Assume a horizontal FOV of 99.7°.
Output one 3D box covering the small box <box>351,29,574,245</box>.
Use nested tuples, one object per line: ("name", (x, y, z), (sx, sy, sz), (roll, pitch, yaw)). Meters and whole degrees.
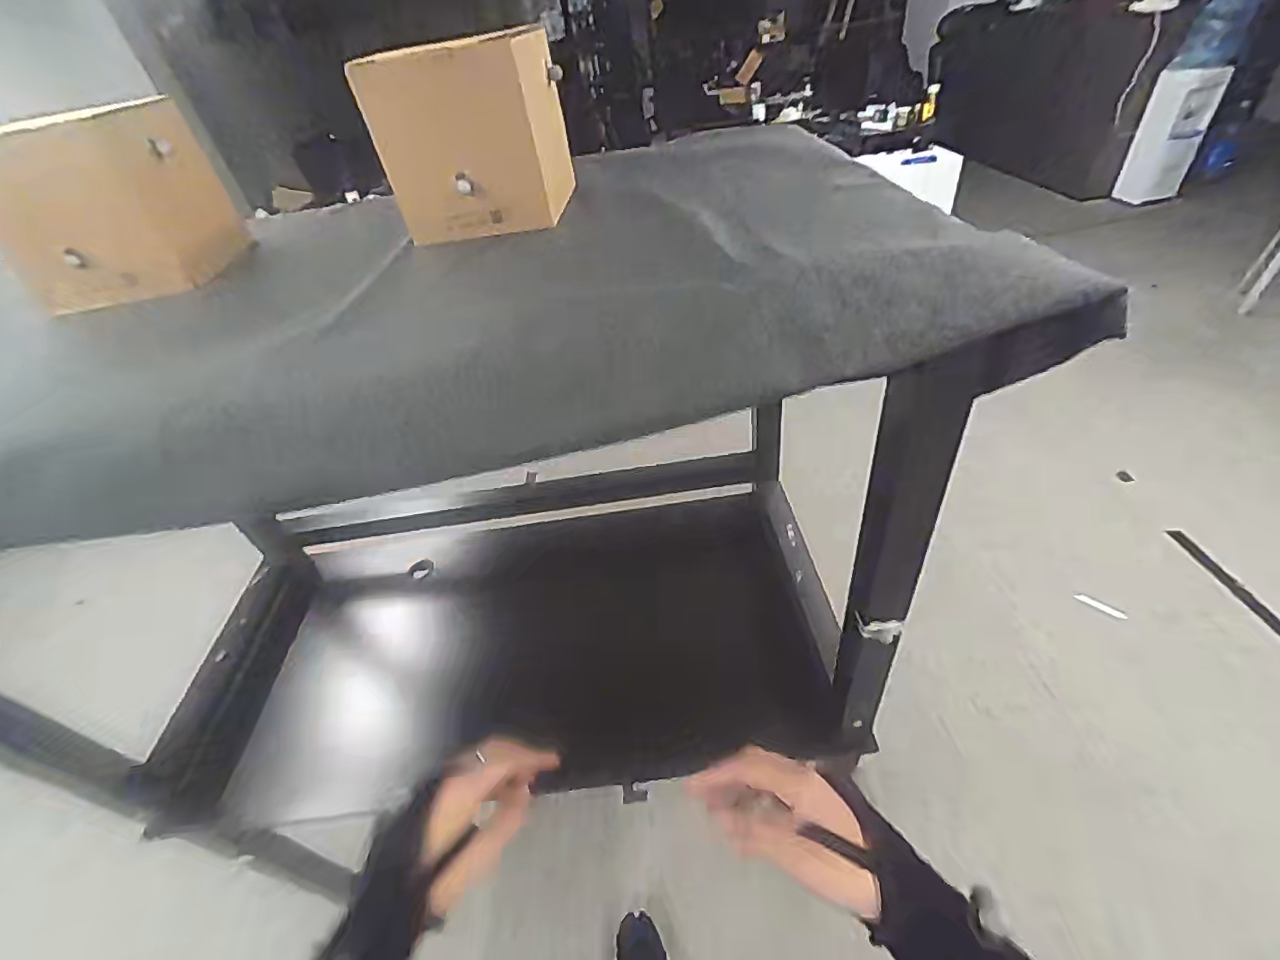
("small box", (-0.177, -0.383, 0.609), (0.168, 0.176, 0.179), (-5, 42, 8))

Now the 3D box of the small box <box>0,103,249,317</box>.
("small box", (-0.594, -0.307, 0.614), (0.168, 0.176, 0.179), (-12, 42, -2))
